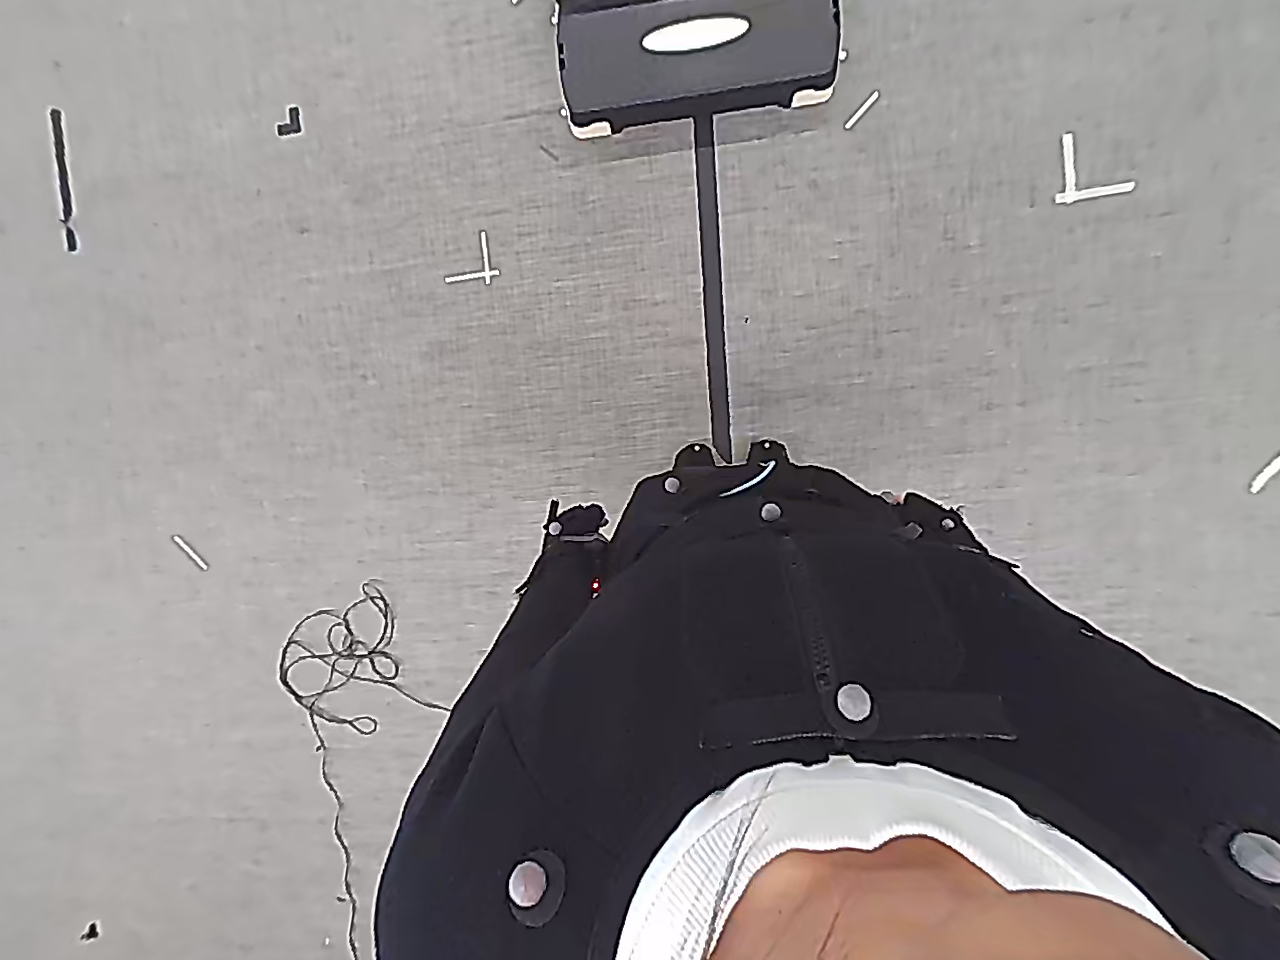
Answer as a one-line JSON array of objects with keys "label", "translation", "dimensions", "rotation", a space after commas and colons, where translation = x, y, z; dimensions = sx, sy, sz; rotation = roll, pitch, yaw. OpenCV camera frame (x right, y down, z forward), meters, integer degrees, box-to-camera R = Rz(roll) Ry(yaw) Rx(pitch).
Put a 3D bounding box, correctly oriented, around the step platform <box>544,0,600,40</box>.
[{"label": "step platform", "translation": [0.084, -1.297, 1.264], "dimensions": [0.684, 0.204, 0.286], "rotation": [-6, 94, 6]}]
